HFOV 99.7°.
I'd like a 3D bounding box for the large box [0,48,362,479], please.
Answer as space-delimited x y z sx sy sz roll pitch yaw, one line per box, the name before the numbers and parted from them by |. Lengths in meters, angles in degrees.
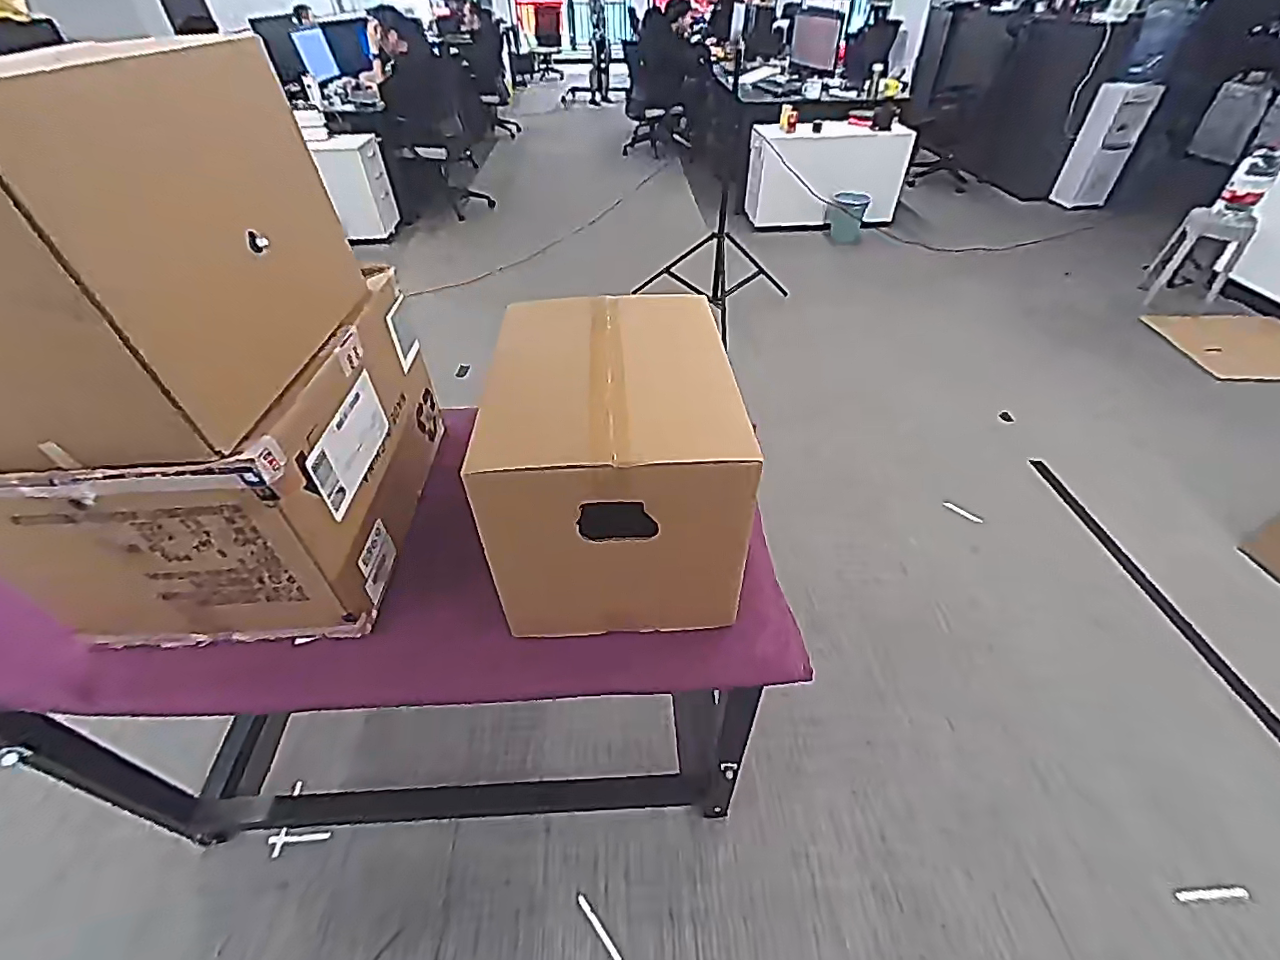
large box | -0.578 -0.254 0.600 0.320 0.320 0.408 -5 43 2
